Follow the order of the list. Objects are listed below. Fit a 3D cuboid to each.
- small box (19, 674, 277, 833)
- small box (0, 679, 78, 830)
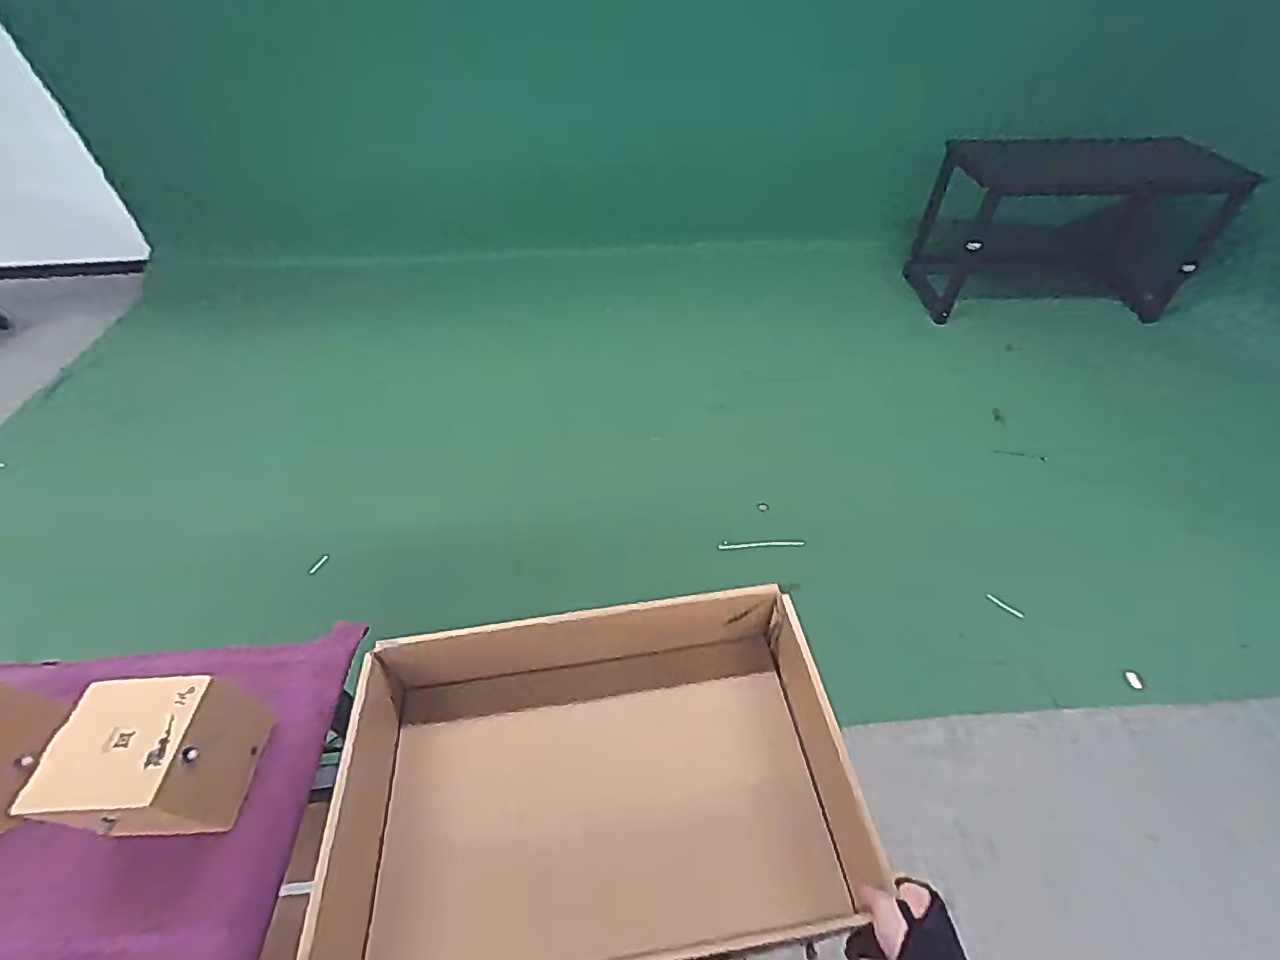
[{"bbox_3d":[-0.677,0.394,0.773,0.179,0.176,0.168,-4,49,1],"label":"small box"},{"bbox_3d":[-0.991,0.398,0.774,0.179,0.176,0.168,-2,50,-2],"label":"small box"}]
